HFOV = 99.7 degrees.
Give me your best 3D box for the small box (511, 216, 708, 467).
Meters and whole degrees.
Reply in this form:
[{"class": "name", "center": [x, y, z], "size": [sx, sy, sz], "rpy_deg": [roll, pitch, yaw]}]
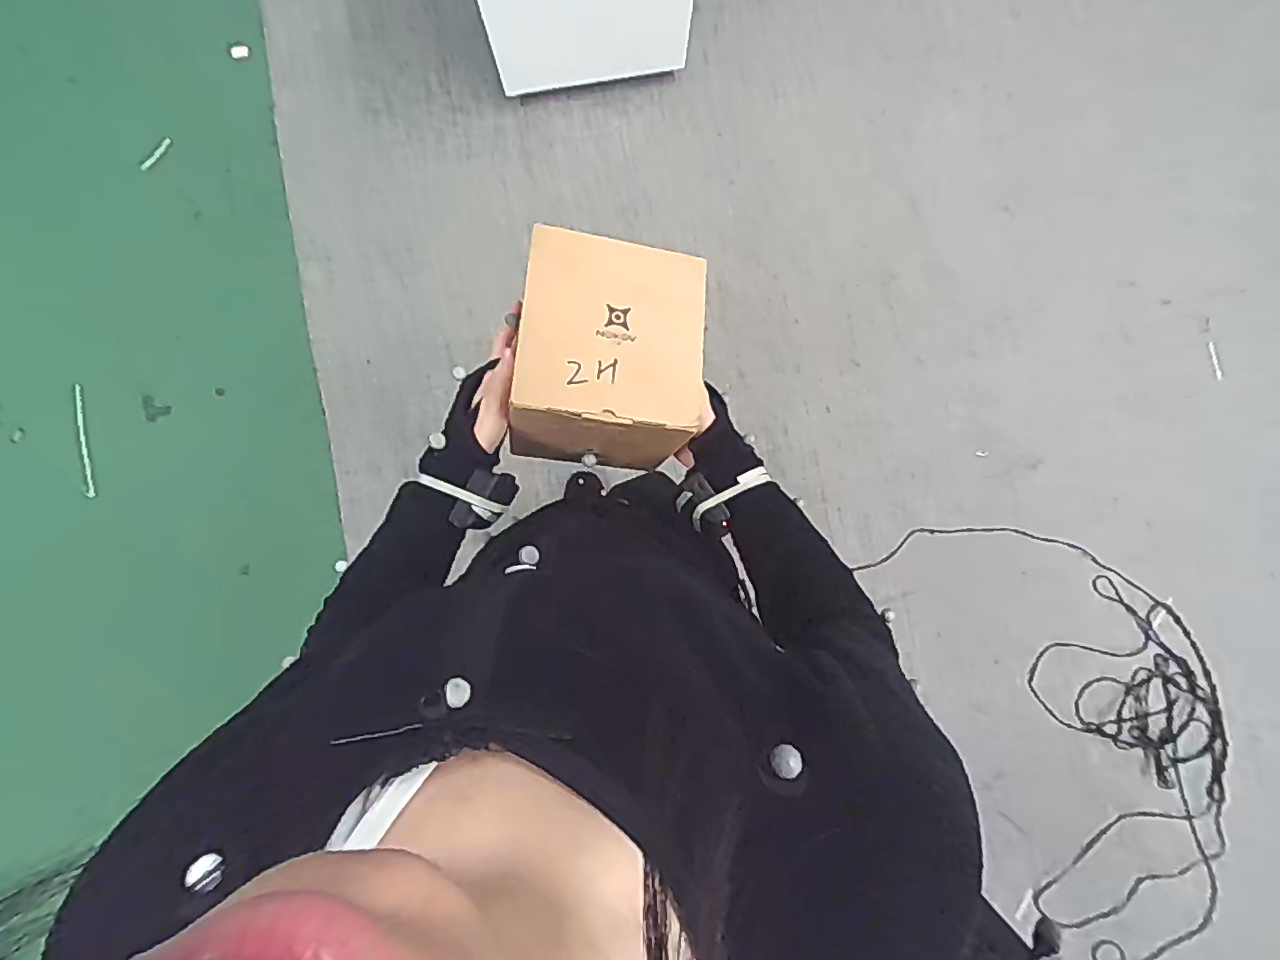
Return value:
[{"class": "small box", "center": [-0.038, -0.124, 0.549], "size": [0.168, 0.176, 0.179], "rpy_deg": [7, 77, -11]}]
